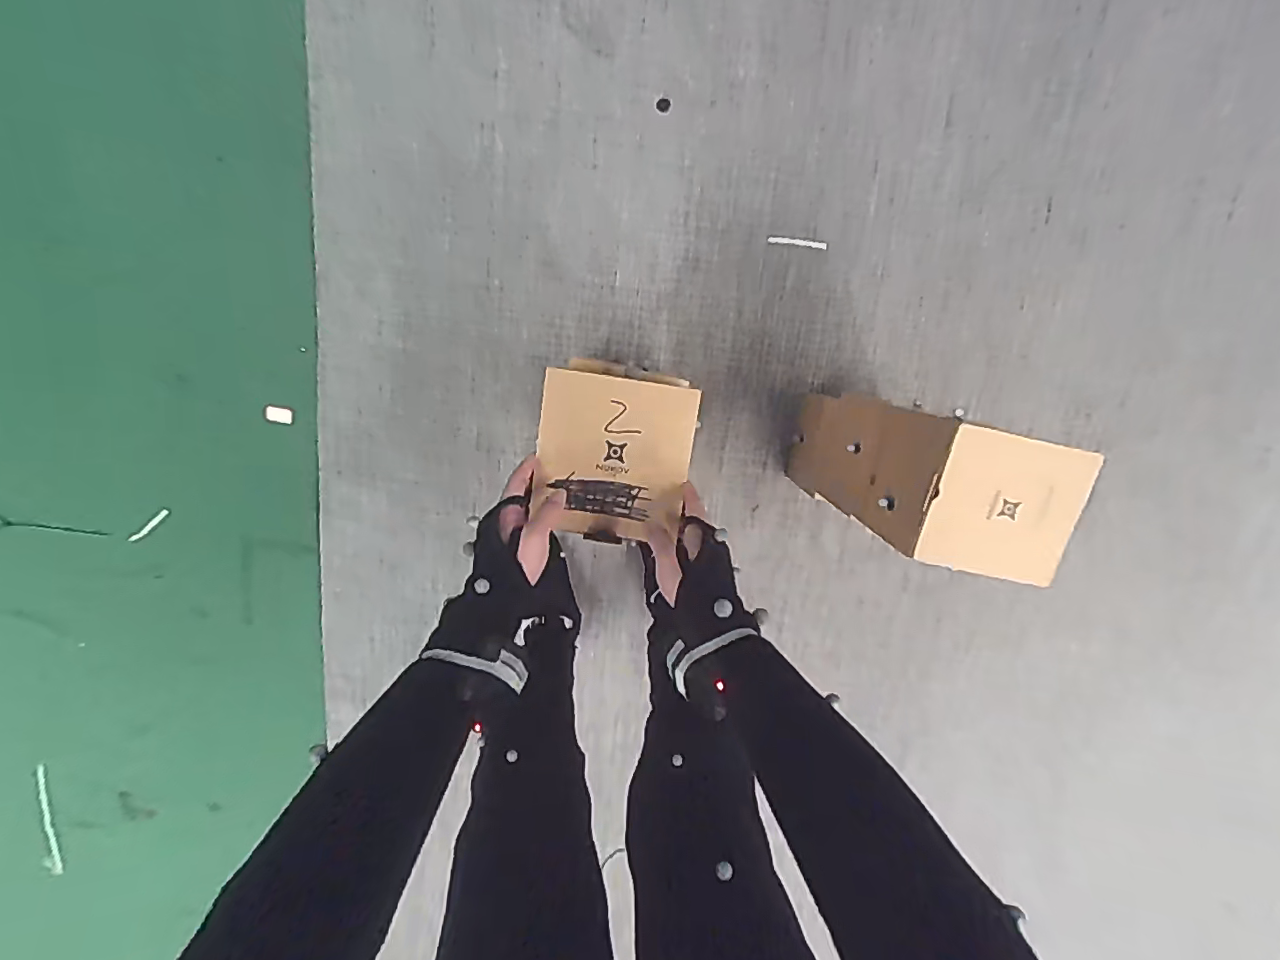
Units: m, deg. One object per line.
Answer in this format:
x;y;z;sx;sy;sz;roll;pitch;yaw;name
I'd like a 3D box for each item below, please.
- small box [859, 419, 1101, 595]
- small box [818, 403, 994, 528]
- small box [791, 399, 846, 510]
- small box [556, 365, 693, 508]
0.410;0.023;0.691;0.179;0.176;0.168;12;103;-4;small box
0.401;-0.017;0.849;0.168;0.176;0.179;13;103;-3;small box
0.396;-0.045;1.011;0.168;0.176;0.179;8;104;-4;small box
-0.027;-0.075;0.828;0.168;0.176;0.179;11;103;-4;small box
